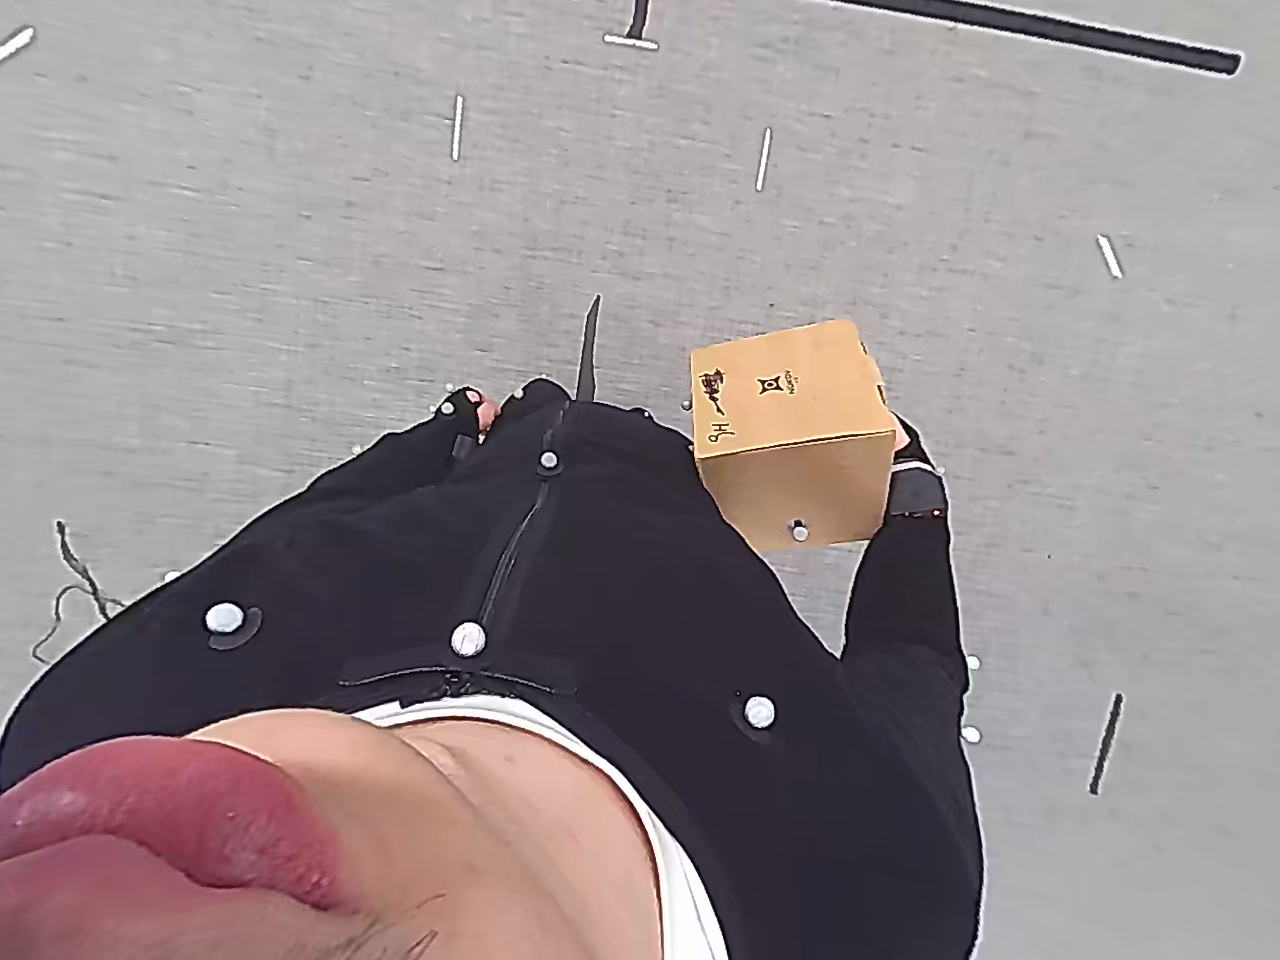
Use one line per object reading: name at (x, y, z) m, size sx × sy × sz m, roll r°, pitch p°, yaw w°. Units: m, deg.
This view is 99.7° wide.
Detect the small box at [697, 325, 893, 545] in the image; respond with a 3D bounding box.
small box at (0.162, -0.044, 0.606) m, size 0.179 × 0.168 × 0.176 m, roll -7°, pitch 138°, yaw 12°
